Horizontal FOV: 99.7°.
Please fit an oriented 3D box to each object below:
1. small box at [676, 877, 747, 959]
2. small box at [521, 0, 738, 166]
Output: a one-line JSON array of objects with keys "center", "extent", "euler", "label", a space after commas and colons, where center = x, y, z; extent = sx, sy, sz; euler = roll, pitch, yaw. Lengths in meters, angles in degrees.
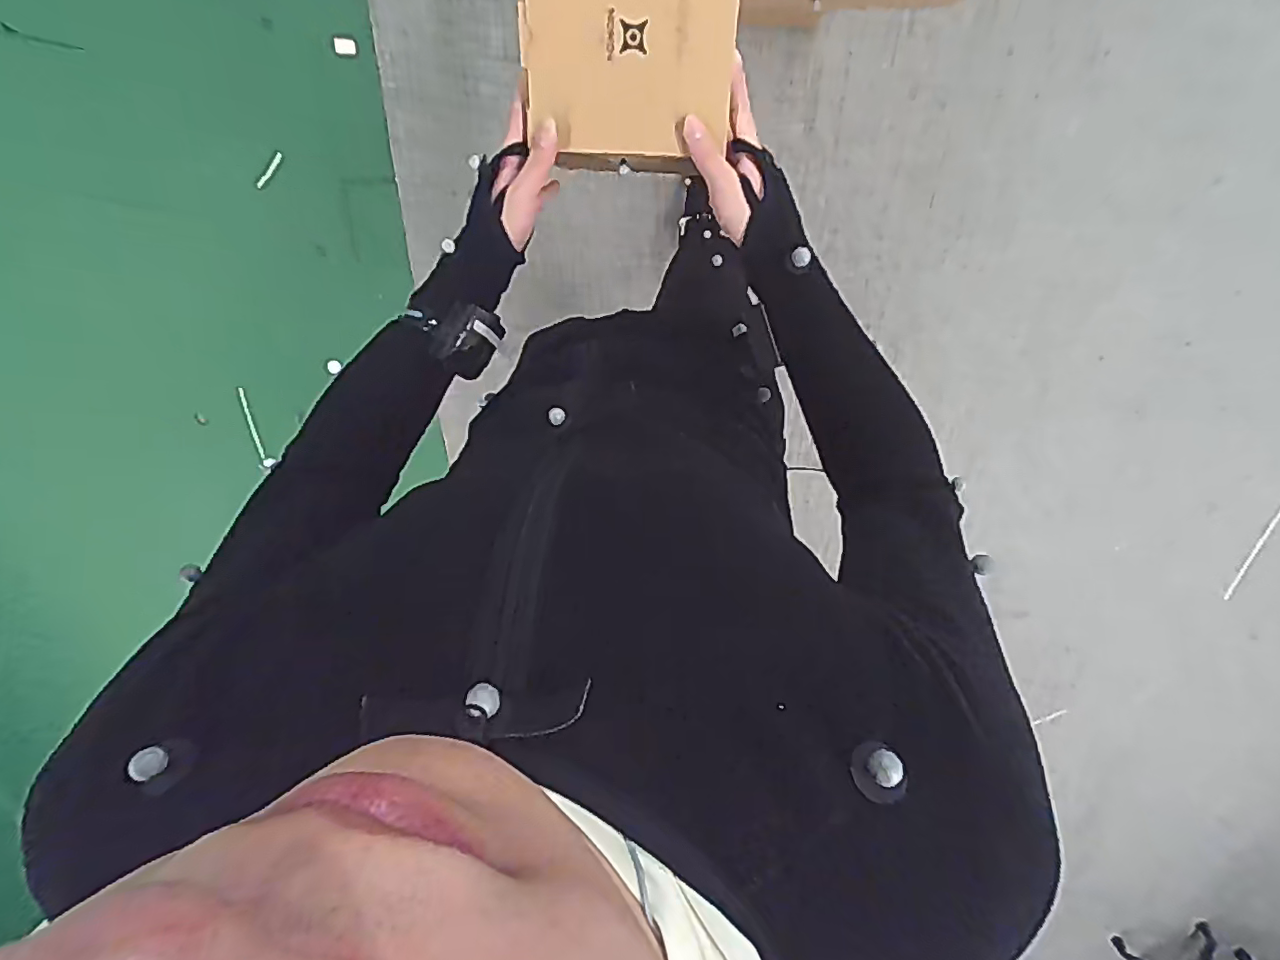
[{"center": [0.192, 1.199, 1.446], "extent": [0.179, 0.176, 0.168], "euler": [-1, 119, 7], "label": "small box"}, {"center": [-0.006, -0.399, 0.507], "extent": [0.179, 0.176, 0.168], "euler": [3, 115, 1], "label": "small box"}]
